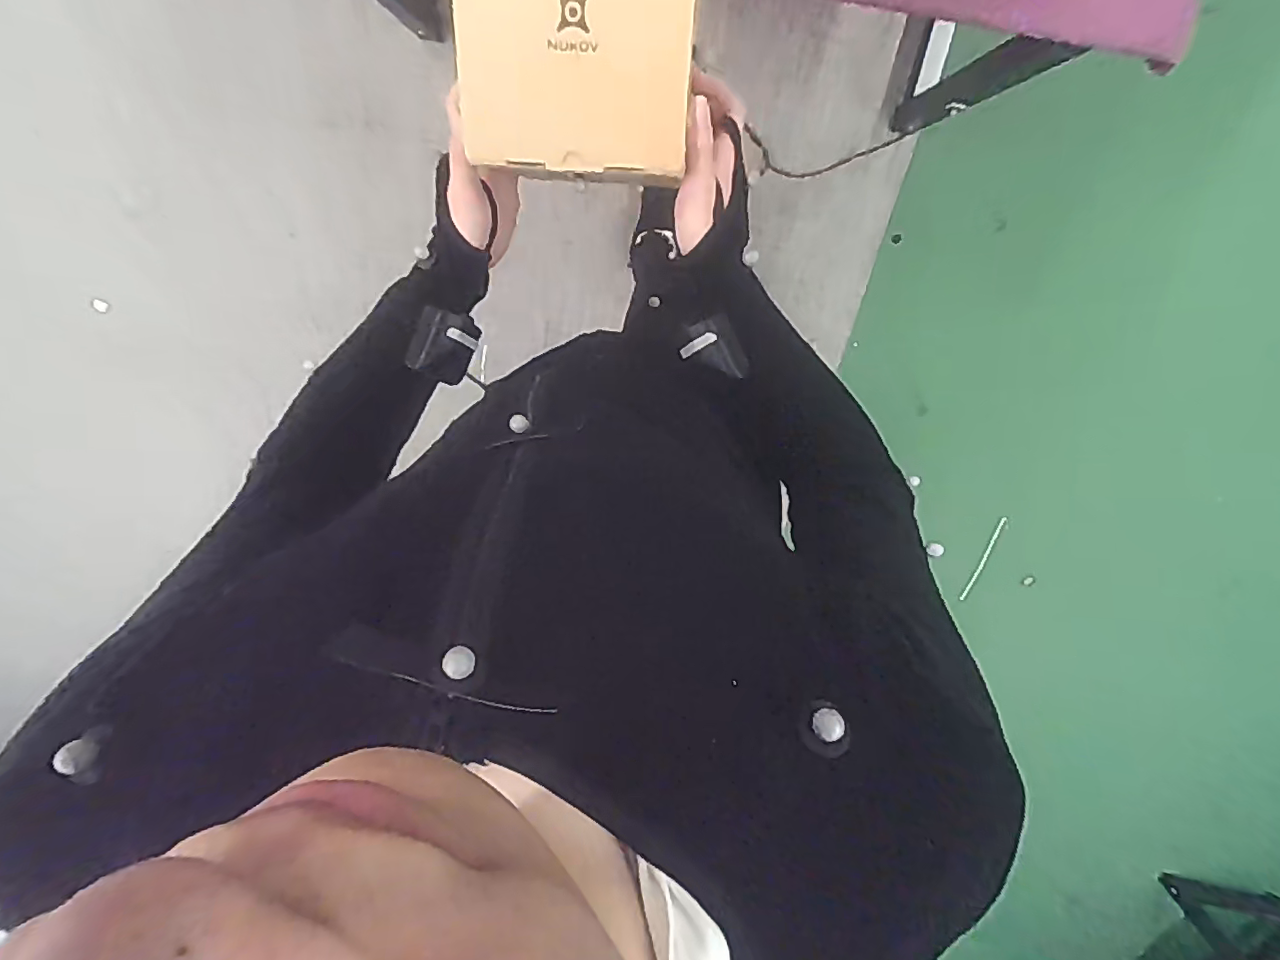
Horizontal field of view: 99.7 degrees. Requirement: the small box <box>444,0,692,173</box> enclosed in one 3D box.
[{"bbox_3d":[-0.045,-0.350,0.426,0.168,0.176,0.179,4,118,2],"label":"small box"}]
